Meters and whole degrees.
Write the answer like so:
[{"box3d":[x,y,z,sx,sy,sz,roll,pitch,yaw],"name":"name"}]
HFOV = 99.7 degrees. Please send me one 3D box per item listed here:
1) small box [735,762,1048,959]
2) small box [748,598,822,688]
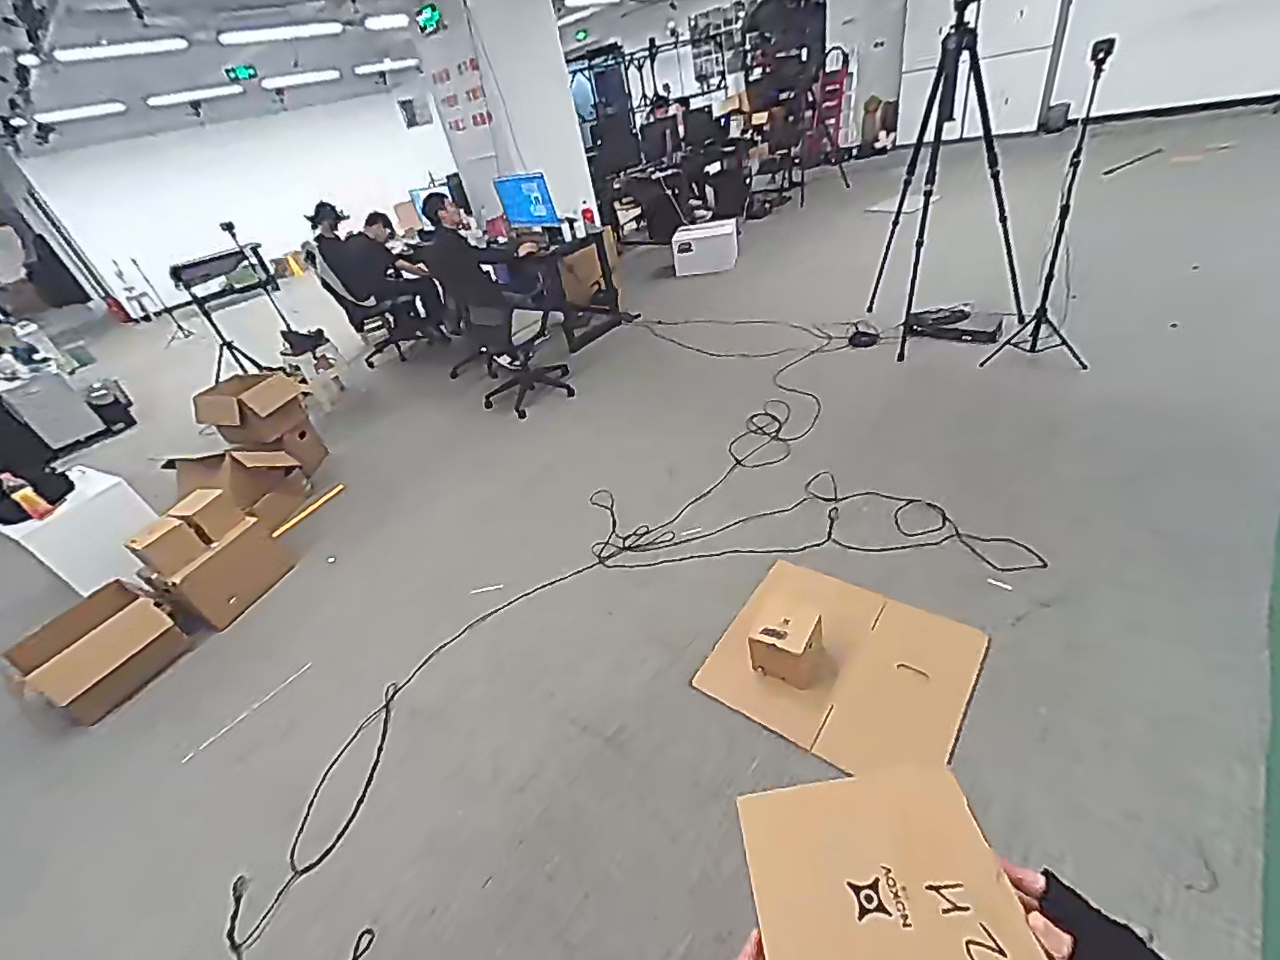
[{"box3d":[0.183,0.353,0.419,0.179,0.176,0.168,-12,33,5],"name":"small box"},{"box3d":[0.449,0.497,1.648,0.168,0.176,0.179,12,42,34],"name":"small box"}]
